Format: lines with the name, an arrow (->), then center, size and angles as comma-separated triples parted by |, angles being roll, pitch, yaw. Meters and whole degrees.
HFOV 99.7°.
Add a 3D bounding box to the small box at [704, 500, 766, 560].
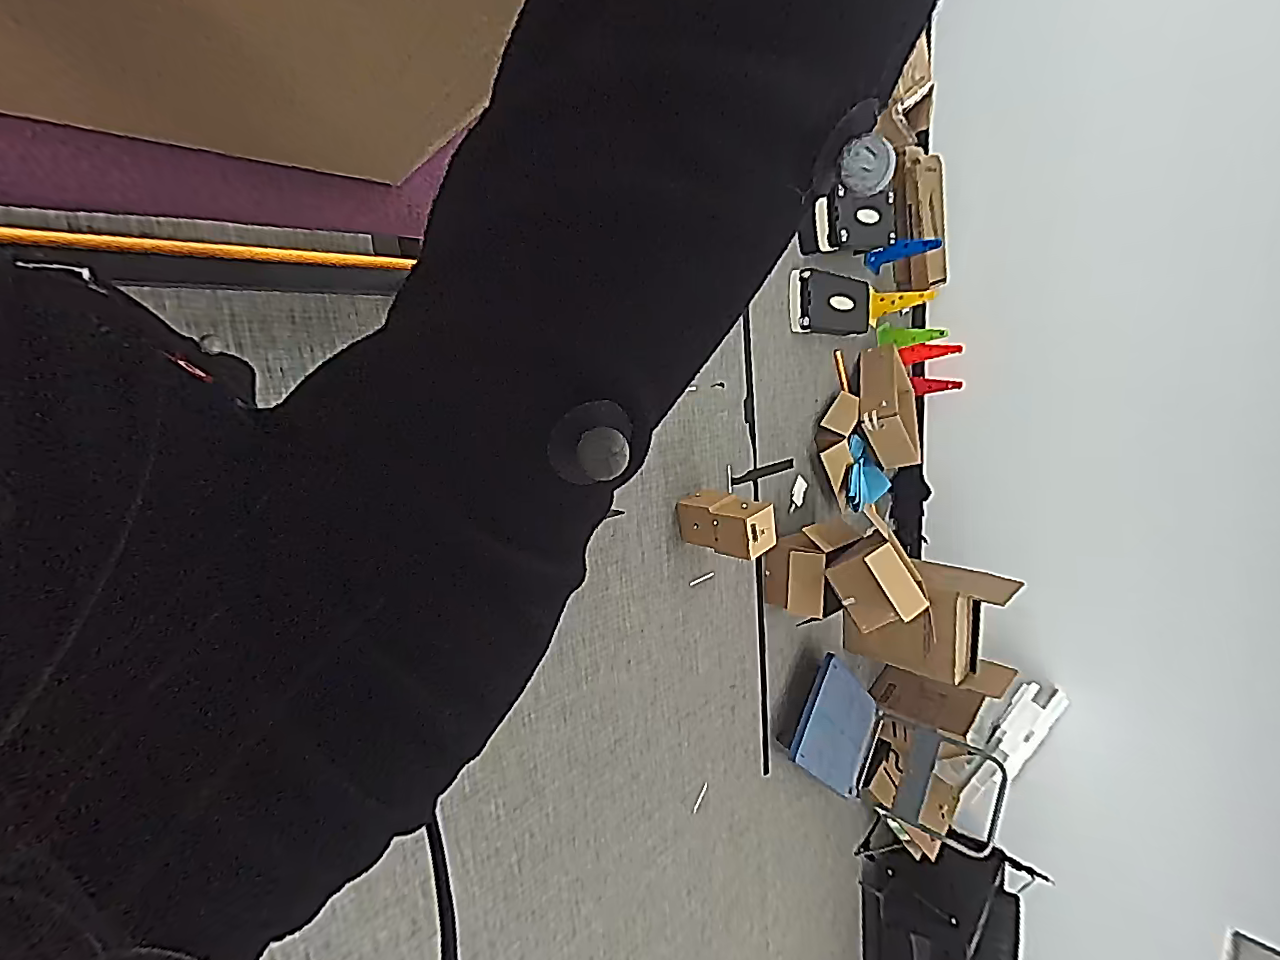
small box -> 0.352, 0.184, 2.041 | 0.179, 0.176, 0.168 | -22, 111, -42
